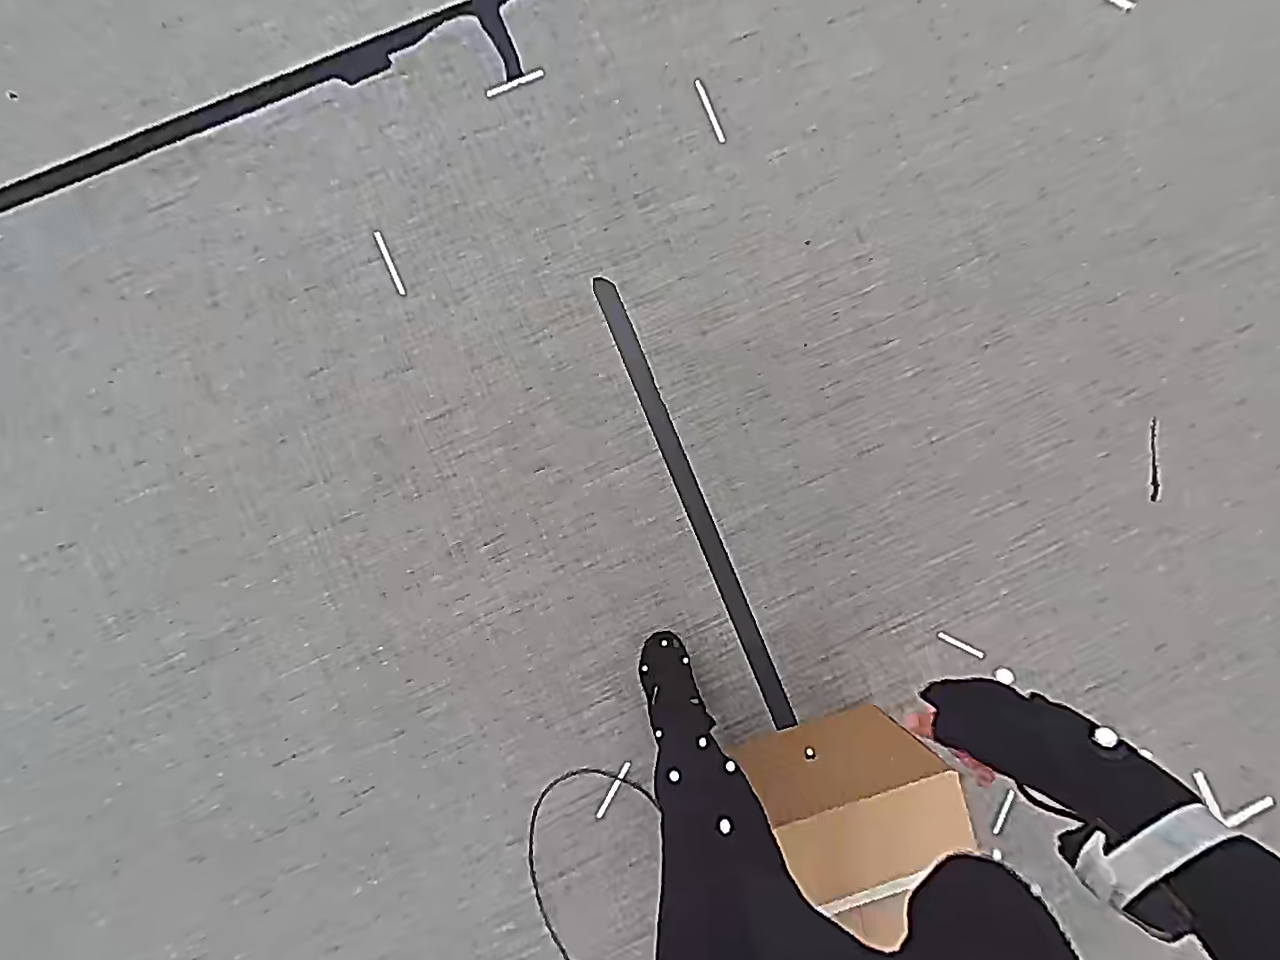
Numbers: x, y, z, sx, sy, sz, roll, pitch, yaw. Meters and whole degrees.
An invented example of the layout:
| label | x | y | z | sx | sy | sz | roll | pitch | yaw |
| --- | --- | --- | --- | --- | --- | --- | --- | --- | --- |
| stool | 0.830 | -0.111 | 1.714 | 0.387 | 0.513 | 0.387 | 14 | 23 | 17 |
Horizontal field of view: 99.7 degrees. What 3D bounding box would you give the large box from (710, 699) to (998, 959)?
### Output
| label | x | y | z | sx | sy | sz | roll | pitch | yaw |
| --- | --- | --- | --- | --- | --- | --- | --- | --- | --- |
| large box | 0.396 | 0.702 | 1.089 | 0.408 | 0.320 | 0.320 | -16 | 90 | -4 |
